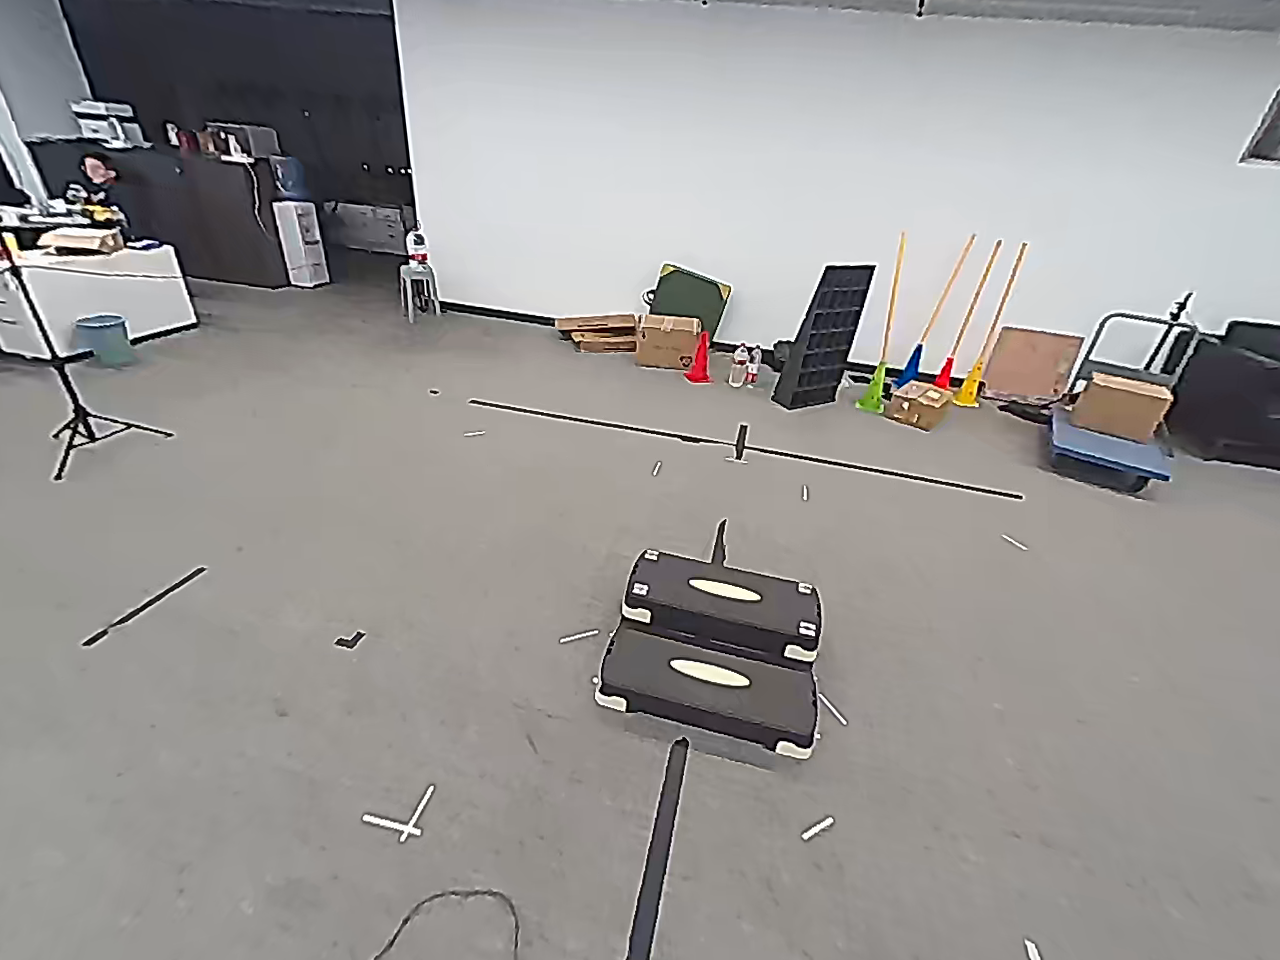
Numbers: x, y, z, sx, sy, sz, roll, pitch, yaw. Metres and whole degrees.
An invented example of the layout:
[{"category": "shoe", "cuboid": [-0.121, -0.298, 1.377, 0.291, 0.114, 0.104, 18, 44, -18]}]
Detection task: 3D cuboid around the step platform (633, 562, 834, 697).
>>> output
[{"category": "step platform", "cuboid": [0.326, 0.511, 1.915, 0.684, 0.204, 0.286, 14, 30, 13]}]
